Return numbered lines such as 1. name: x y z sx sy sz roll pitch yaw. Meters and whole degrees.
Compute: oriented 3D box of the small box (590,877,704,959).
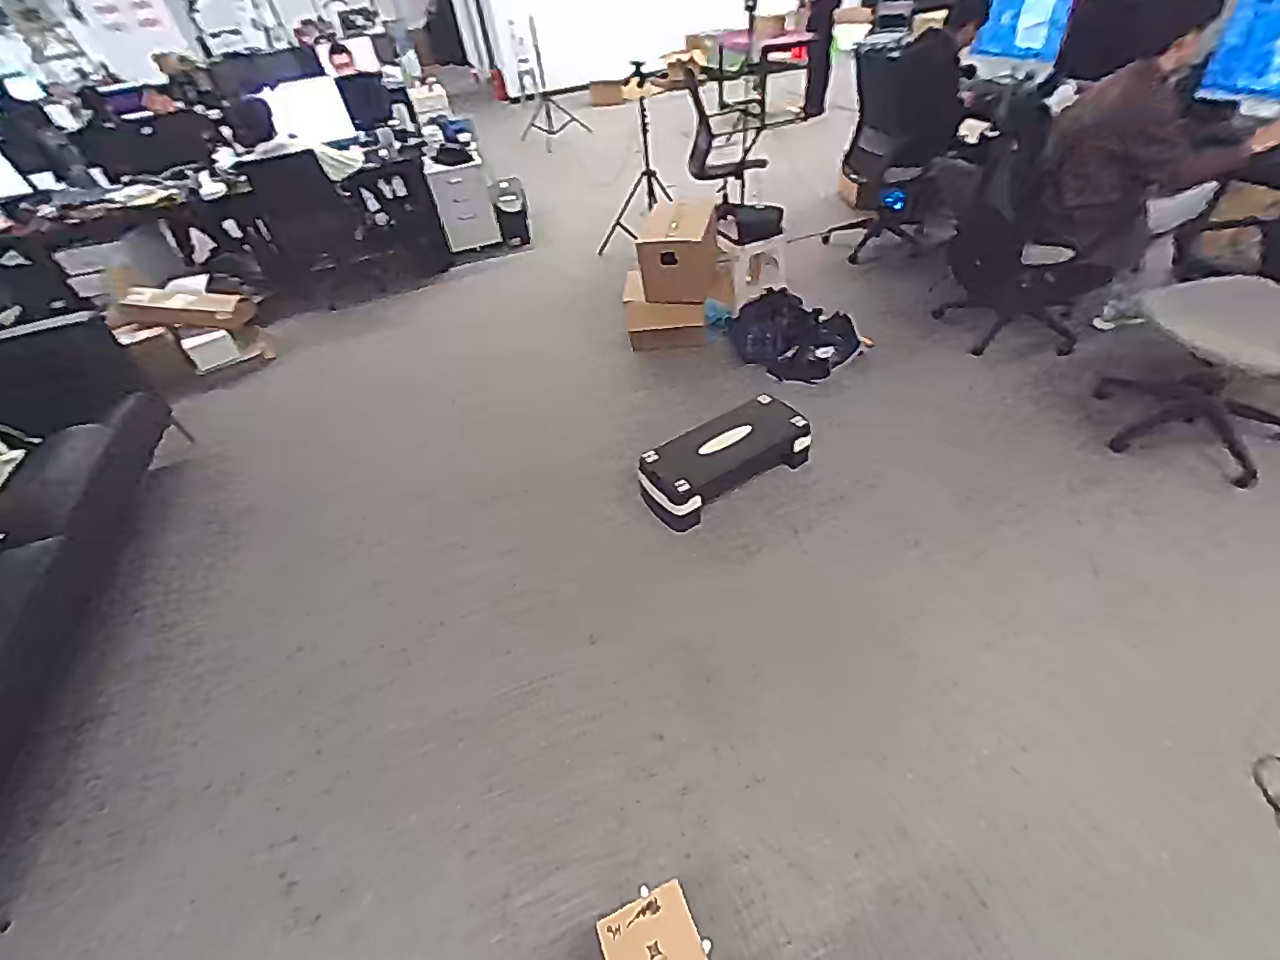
1. small box: 0.025 0.880 0.998 0.168 0.176 0.179 -21 46 -12
